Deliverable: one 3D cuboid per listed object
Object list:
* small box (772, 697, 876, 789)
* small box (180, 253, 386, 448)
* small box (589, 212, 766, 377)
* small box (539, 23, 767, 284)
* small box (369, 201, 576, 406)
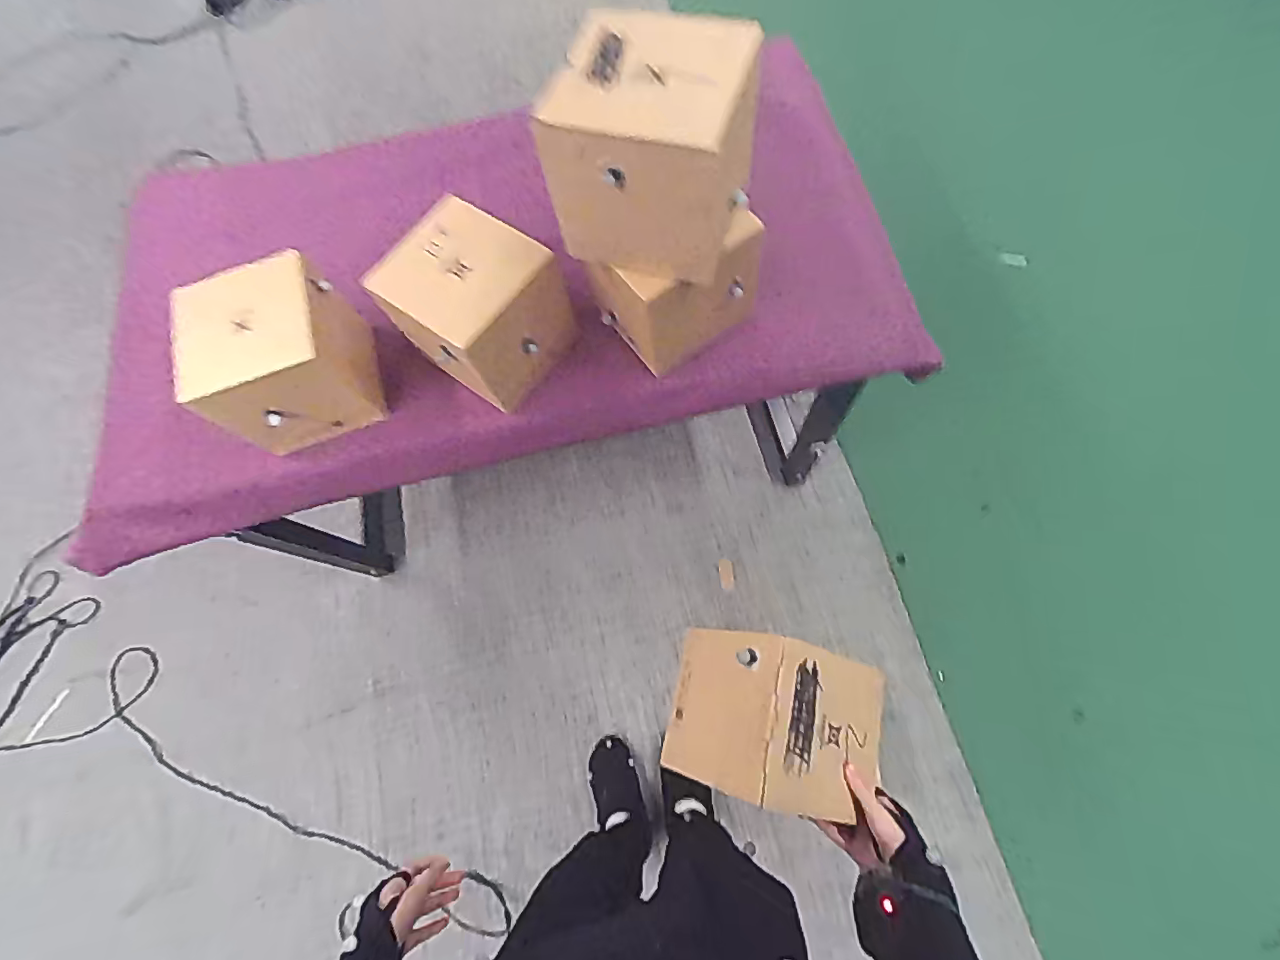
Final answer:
[{"bbox_3d":[0.388,0.567,1.179,0.179,0.176,0.168,-4,71,4],"label":"small box"},{"bbox_3d":[-0.470,-0.161,0.732,0.168,0.176,0.179,-20,69,-2],"label":"small box"},{"bbox_3d":[0.042,-0.275,0.729,0.179,0.176,0.168,-34,69,-7],"label":"small box"},{"bbox_3d":[0.021,-0.339,0.579,0.179,0.176,0.168,17,71,11],"label":"small box"},{"bbox_3d":[-0.209,-0.225,0.730,0.179,0.176,0.168,35,76,15],"label":"small box"}]
